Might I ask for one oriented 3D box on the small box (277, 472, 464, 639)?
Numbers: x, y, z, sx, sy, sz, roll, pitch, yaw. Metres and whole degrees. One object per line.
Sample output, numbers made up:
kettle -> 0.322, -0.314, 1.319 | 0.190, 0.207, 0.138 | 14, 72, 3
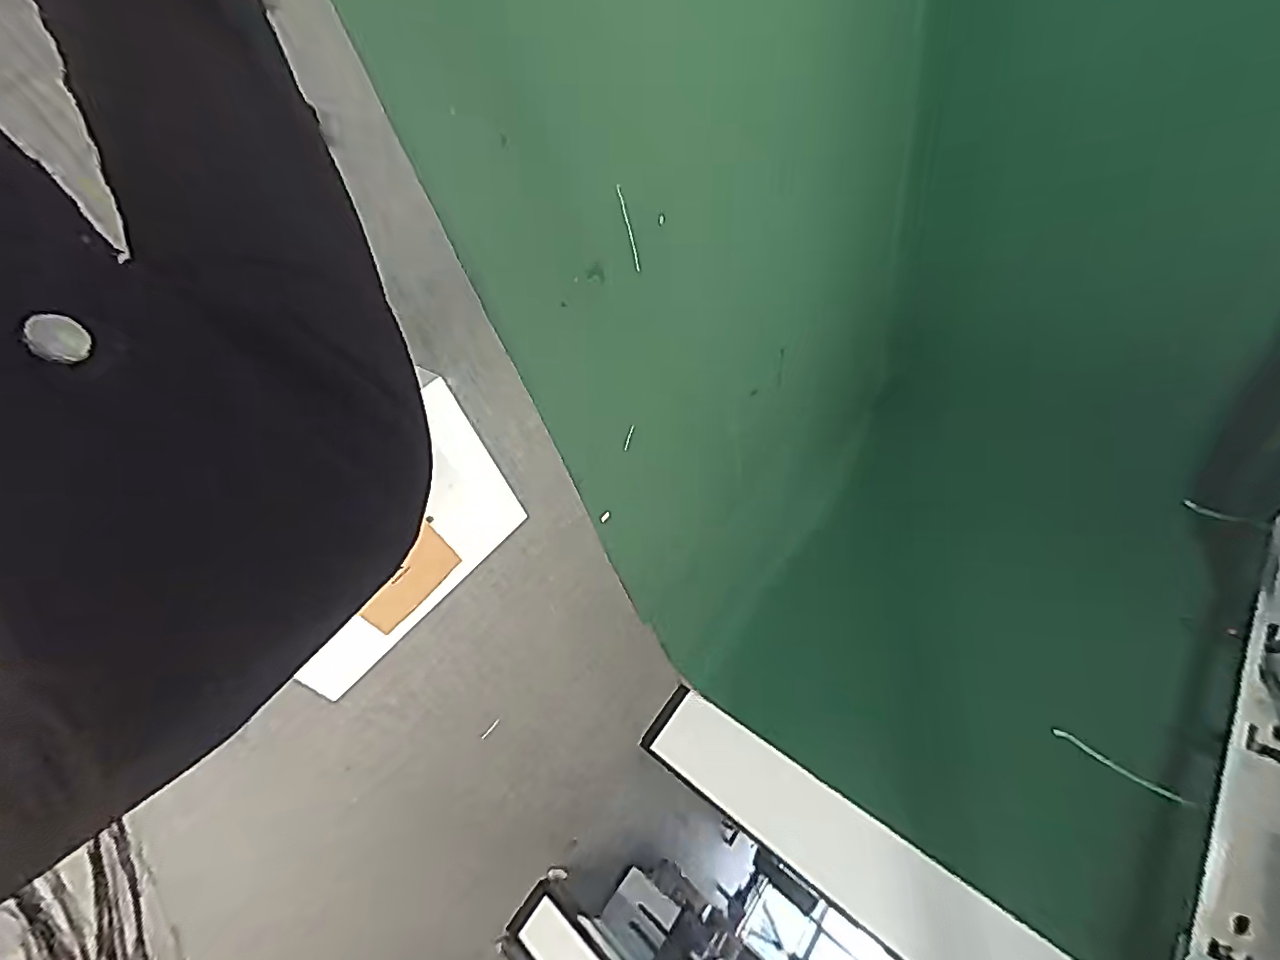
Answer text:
small box -> -0.426, 0.114, 0.866 | 0.168, 0.176, 0.179 | -49, 140, -22
